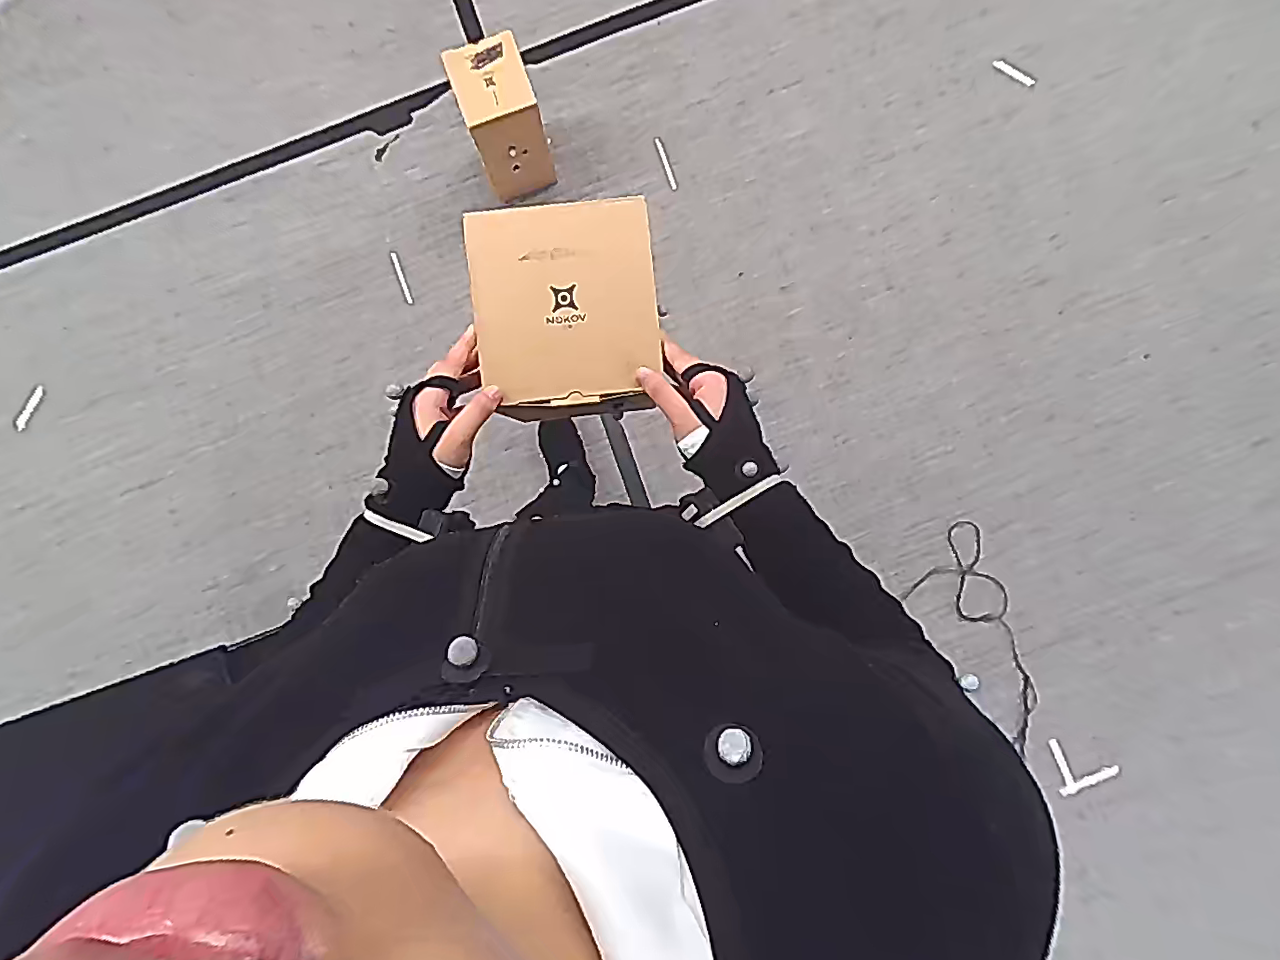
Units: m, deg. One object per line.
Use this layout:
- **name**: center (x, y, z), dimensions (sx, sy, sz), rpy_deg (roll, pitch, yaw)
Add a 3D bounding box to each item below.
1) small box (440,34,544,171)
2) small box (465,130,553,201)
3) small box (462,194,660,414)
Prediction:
- **small box**: center (-0.336, -0.869, 1.259), dimensions (0.168, 0.176, 0.179), rpy_deg (-20, 91, -1)
- **small box**: center (-0.344, -0.872, 1.423), dimensions (0.179, 0.176, 0.168), rpy_deg (-20, 90, -2)
- **small box**: center (-0.071, -0.164, 0.563), dimensions (0.168, 0.176, 0.179), rpy_deg (-6, 92, -2)
